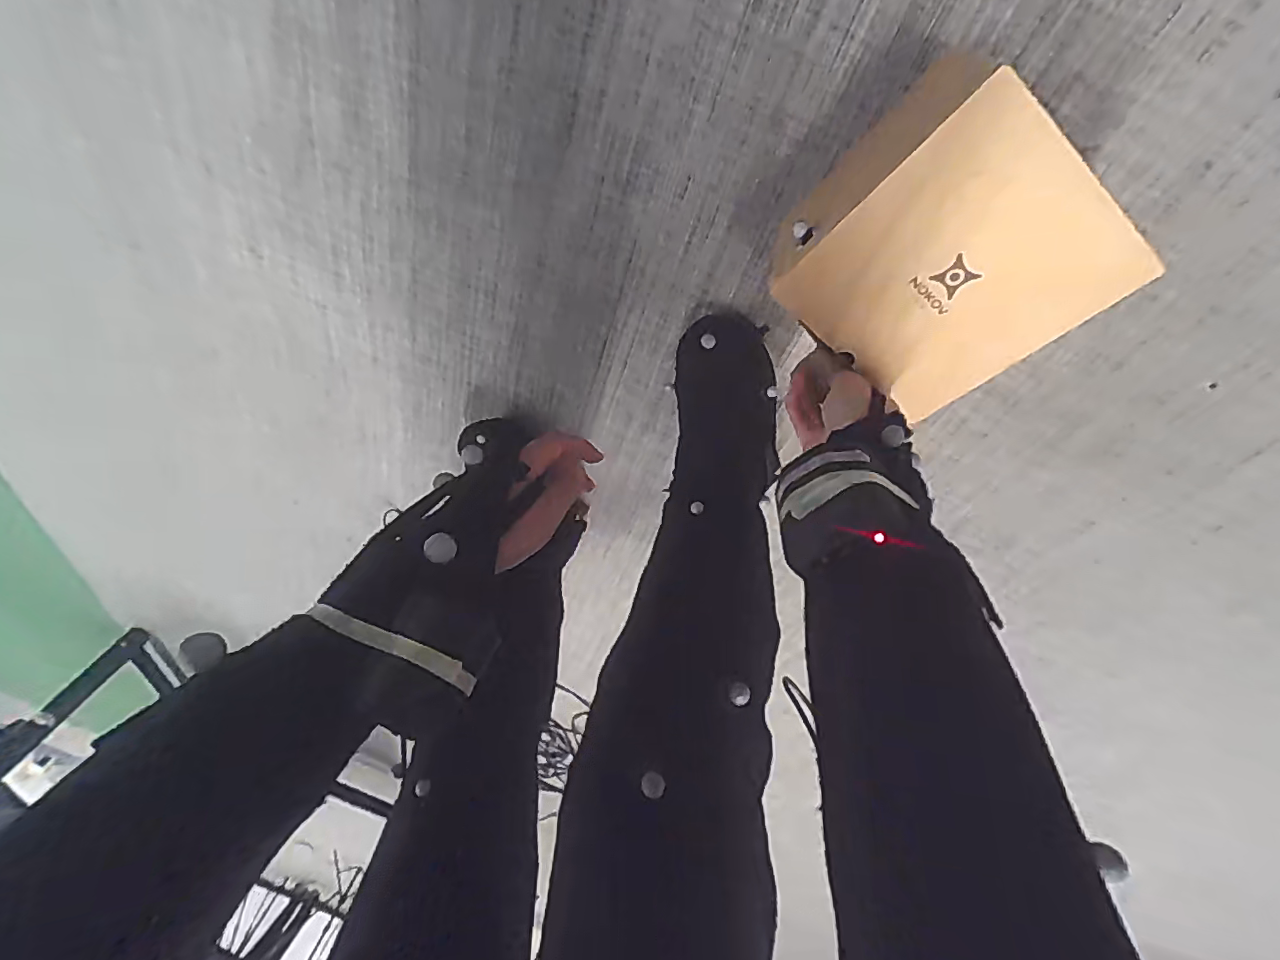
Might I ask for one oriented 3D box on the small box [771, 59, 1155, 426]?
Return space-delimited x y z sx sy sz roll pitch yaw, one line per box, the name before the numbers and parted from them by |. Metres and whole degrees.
small box | 0.224 -0.184 0.421 0.168 0.176 0.179 37 132 -14
